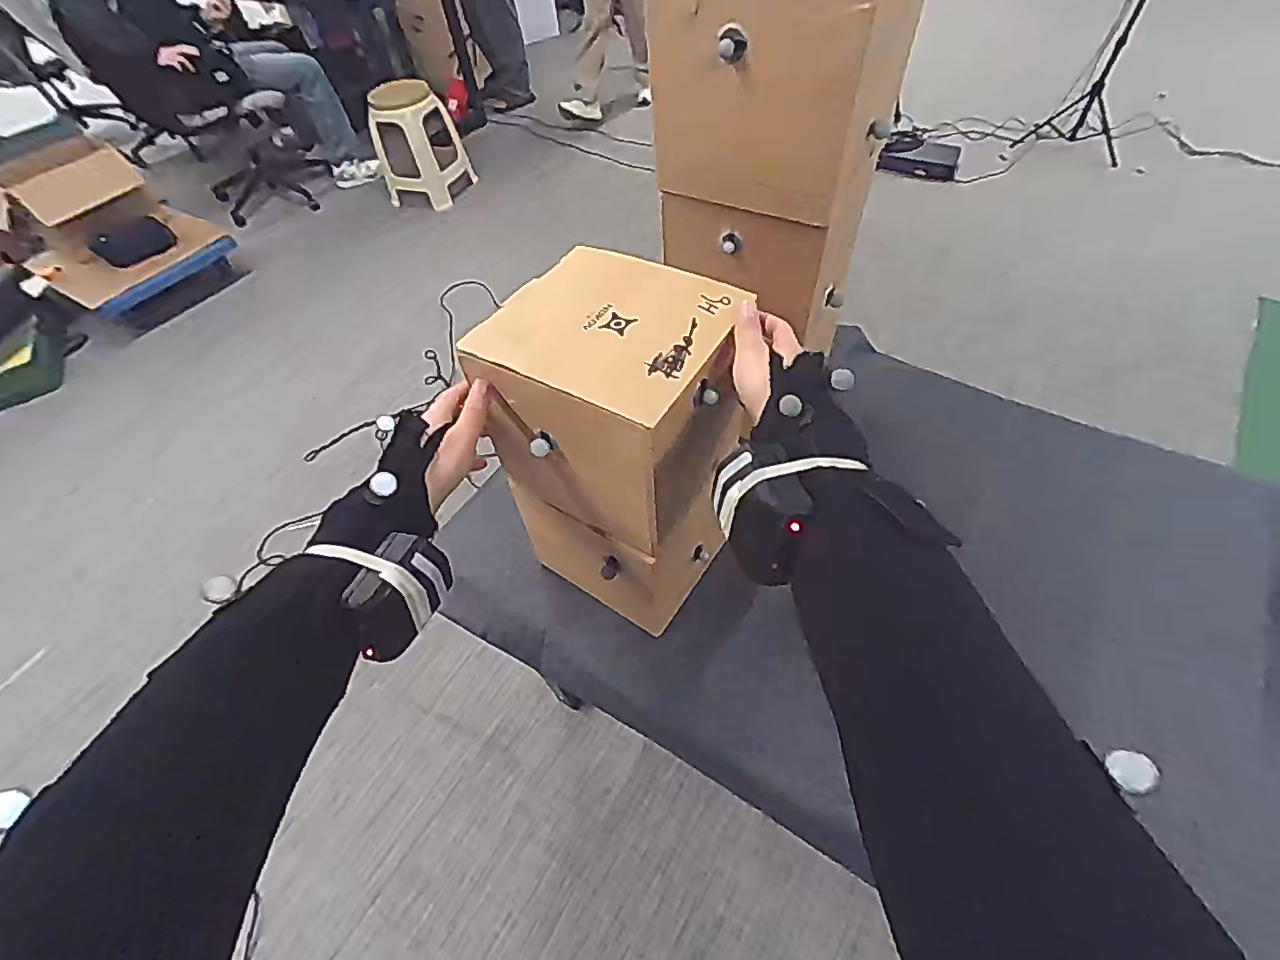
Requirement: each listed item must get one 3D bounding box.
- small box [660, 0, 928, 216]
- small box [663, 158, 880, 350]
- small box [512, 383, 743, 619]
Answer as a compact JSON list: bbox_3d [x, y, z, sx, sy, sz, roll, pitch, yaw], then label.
[{"bbox_3d":[0.127,-0.358,0.468,0.179,0.176,0.168,25,63,20],"label":"small box"},{"bbox_3d":[0.141,-0.273,0.608,0.179,0.176,0.168,23,62,19],"label":"small box"},{"bbox_3d":[-0.007,0.030,0.601,0.179,0.176,0.168,28,59,22],"label":"small box"}]
